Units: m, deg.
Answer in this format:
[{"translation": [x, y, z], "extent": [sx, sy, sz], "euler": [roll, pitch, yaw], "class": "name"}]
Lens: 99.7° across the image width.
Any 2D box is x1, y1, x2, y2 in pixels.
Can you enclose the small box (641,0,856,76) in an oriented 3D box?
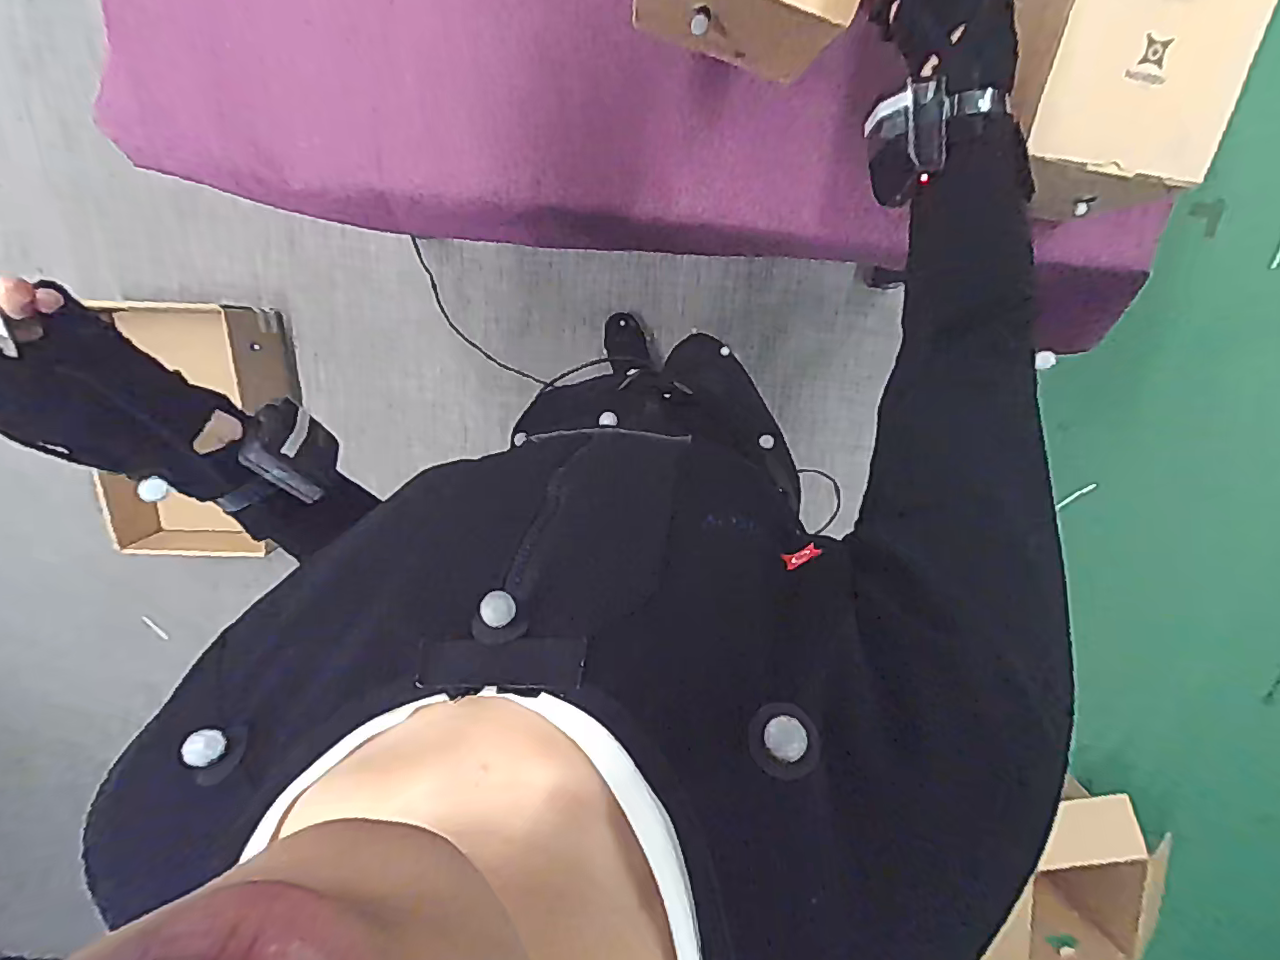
[{"translation": [0.099, -0.461, 0.426], "extent": [0.168, 0.176, 0.179], "euler": [14, 112, -7], "class": "small box"}]
